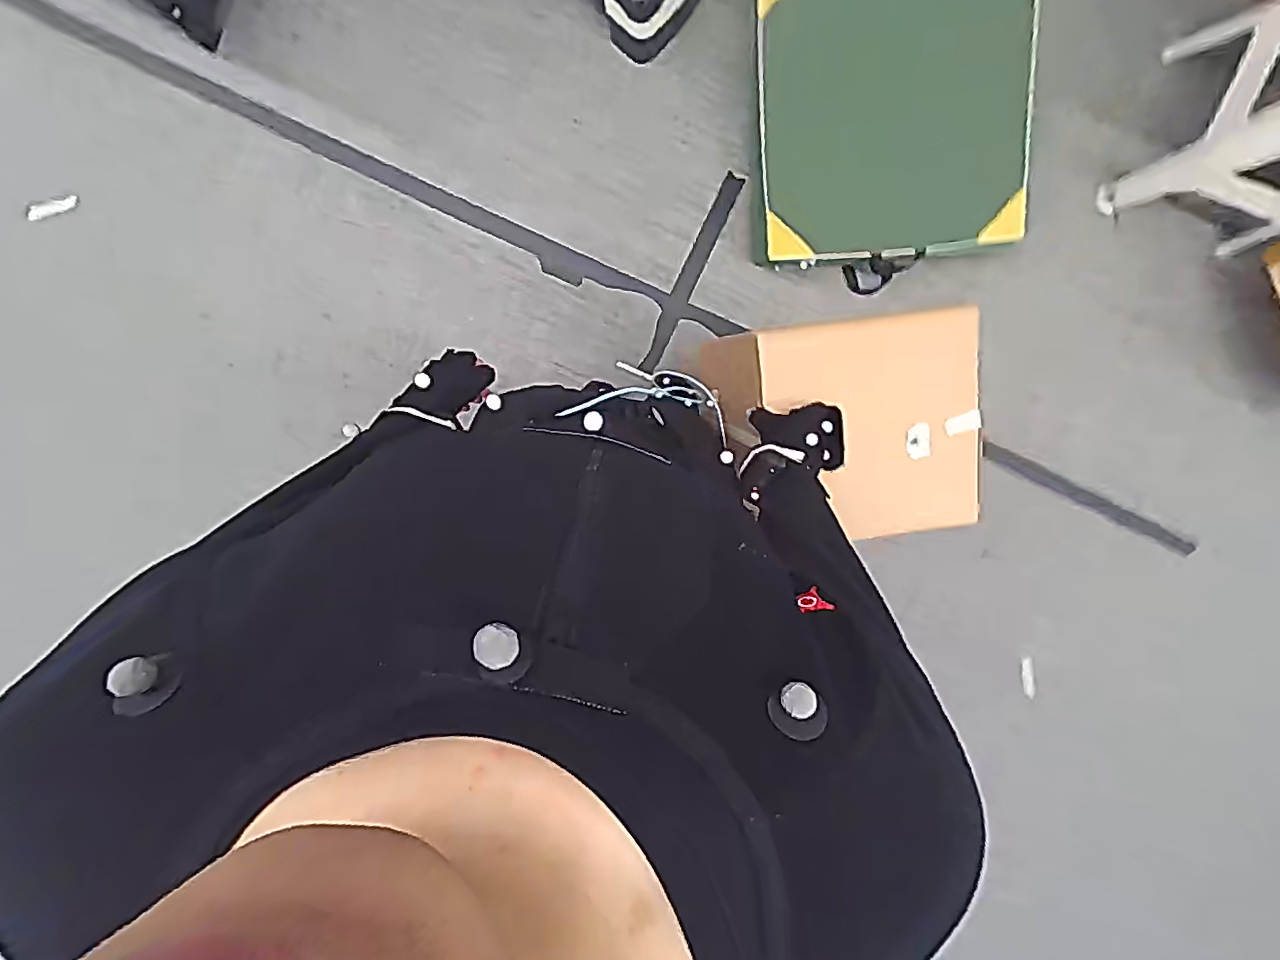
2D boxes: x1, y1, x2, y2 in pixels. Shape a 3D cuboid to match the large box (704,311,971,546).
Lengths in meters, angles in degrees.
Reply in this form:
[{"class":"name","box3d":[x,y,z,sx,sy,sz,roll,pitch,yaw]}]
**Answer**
[{"class":"large box","box3d":[0.313,-0.105,0.959,0.320,0.408,0.320,-6,102,-2]}]
